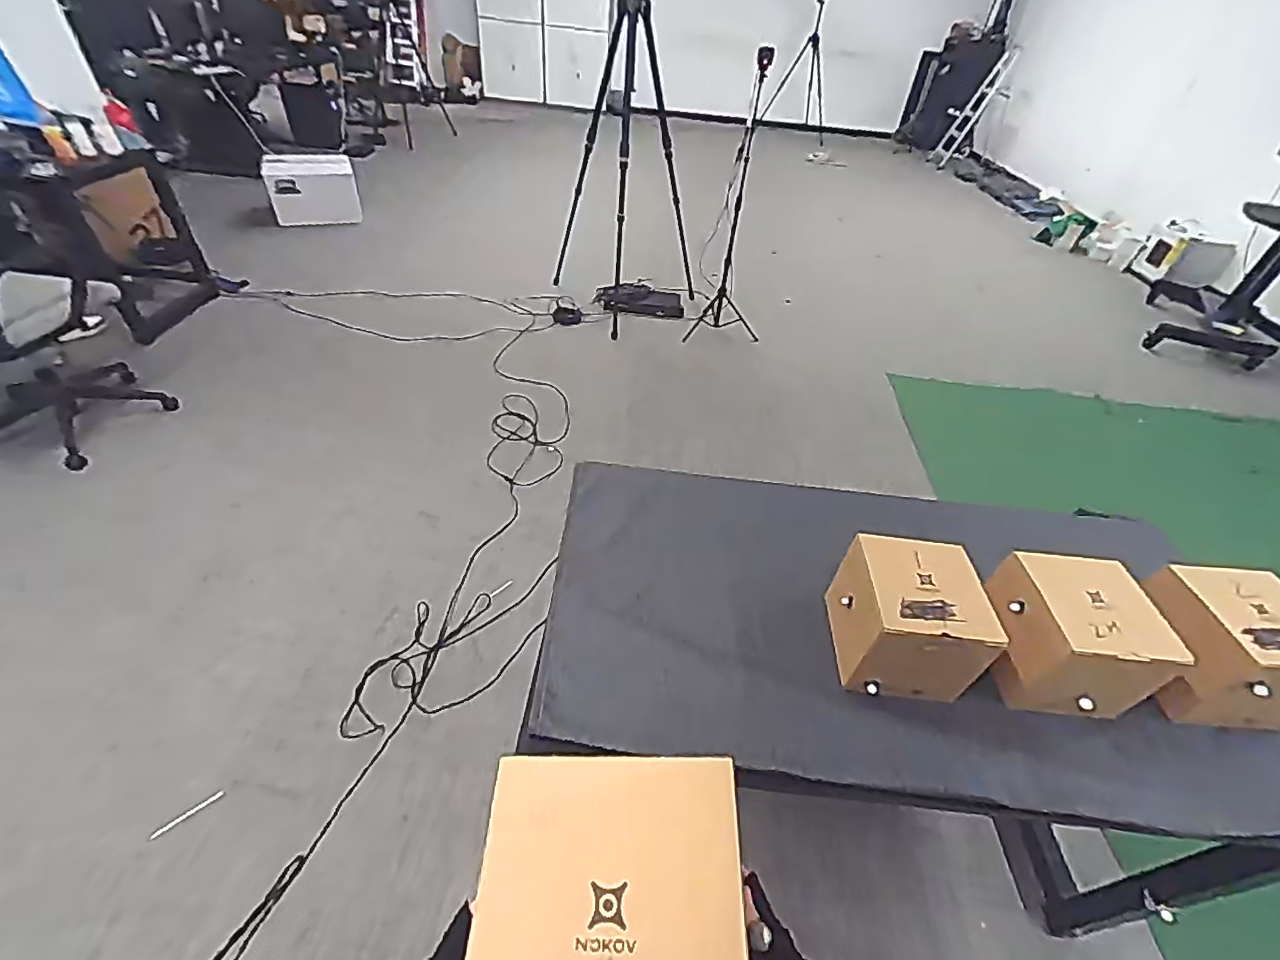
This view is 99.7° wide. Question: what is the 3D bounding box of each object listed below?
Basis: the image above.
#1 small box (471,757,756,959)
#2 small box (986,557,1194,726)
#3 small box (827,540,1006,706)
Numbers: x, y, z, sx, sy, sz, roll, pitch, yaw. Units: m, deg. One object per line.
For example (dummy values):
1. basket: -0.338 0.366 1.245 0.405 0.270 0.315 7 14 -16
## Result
1. small box: -0.011 0.312 0.381 0.168 0.176 0.179 -2 50 4
2. small box: 0.641 0.243 0.818 0.168 0.176 0.179 6 41 0
3. small box: 0.399 0.218 0.818 0.168 0.176 0.179 7 41 1
